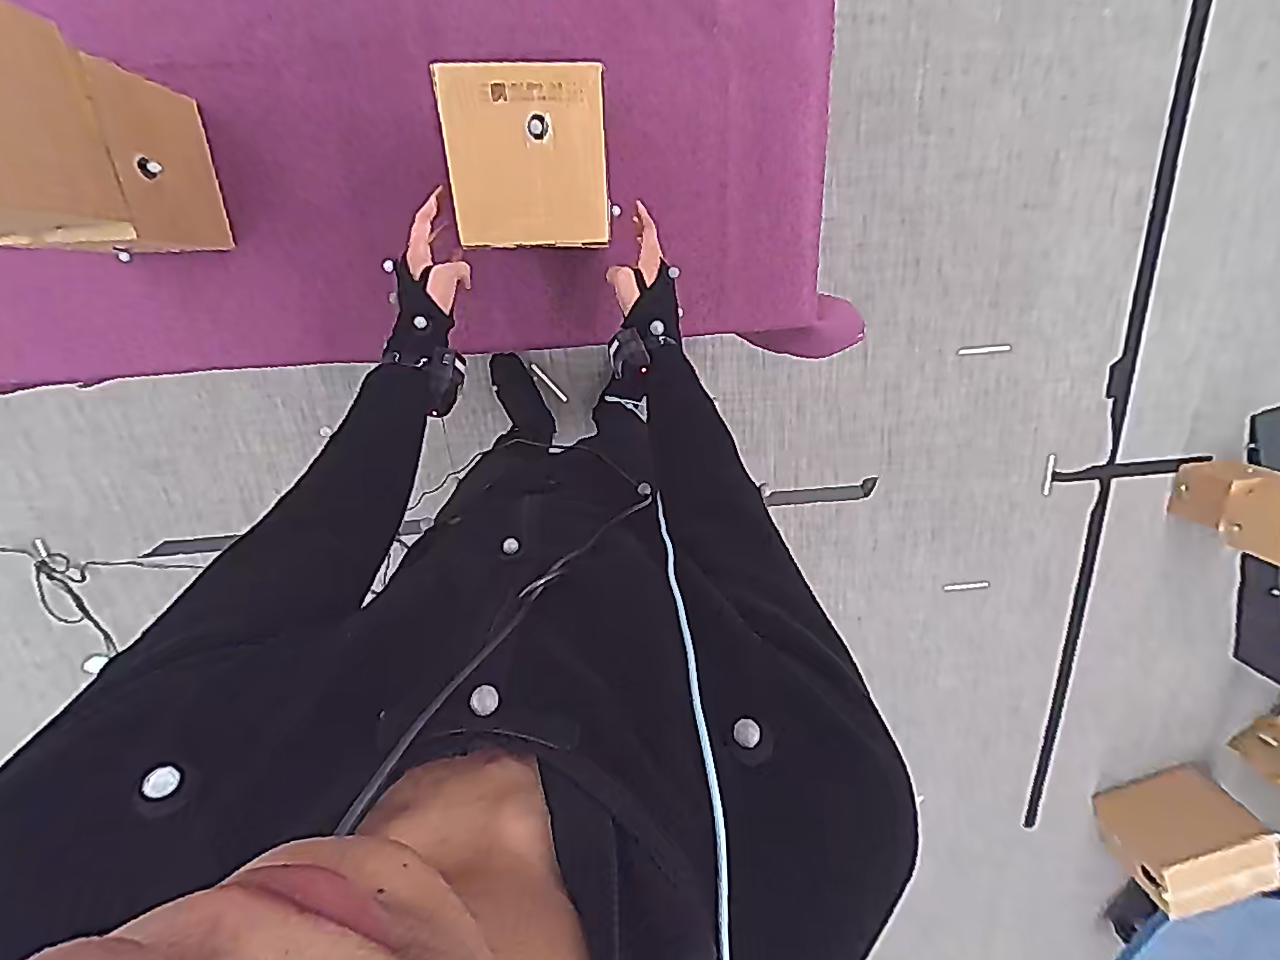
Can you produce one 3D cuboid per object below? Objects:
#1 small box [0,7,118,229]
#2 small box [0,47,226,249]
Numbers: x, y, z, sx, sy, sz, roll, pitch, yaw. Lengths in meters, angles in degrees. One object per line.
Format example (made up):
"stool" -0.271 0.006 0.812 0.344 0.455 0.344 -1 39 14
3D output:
"small box" -0.627 -0.320 0.469 0.168 0.176 0.179 -7 110 -1
"small box" -0.632 -0.366 0.627 0.168 0.176 0.179 -3 110 -3
